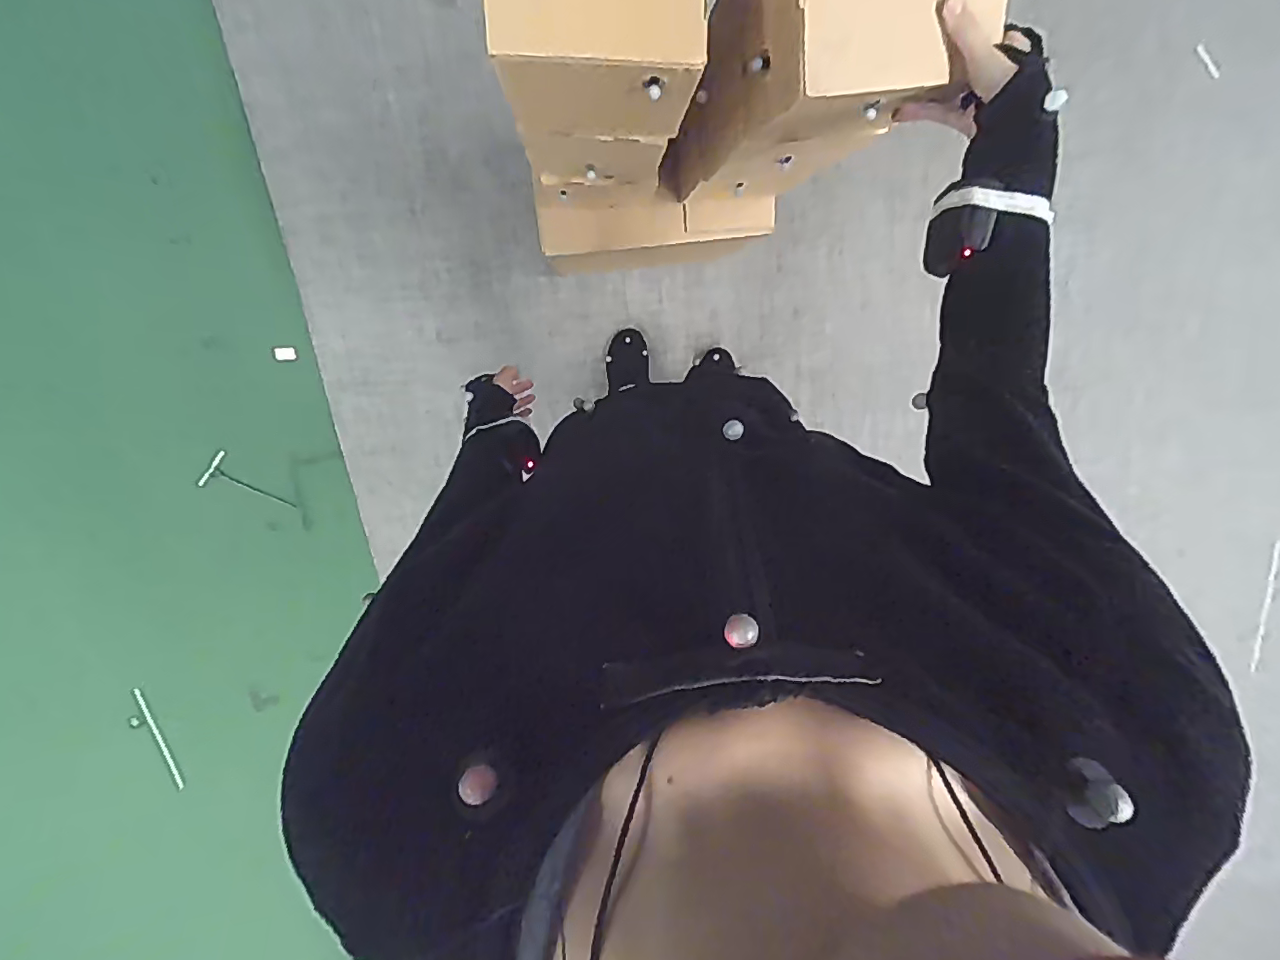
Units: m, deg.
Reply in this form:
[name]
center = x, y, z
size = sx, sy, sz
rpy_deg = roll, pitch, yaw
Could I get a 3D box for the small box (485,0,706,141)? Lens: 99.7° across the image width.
[small box]
center = -0.040, -0.428, 0.491
size = 0.179, 0.176, 0.168
rpy_deg = -2, 105, -5
